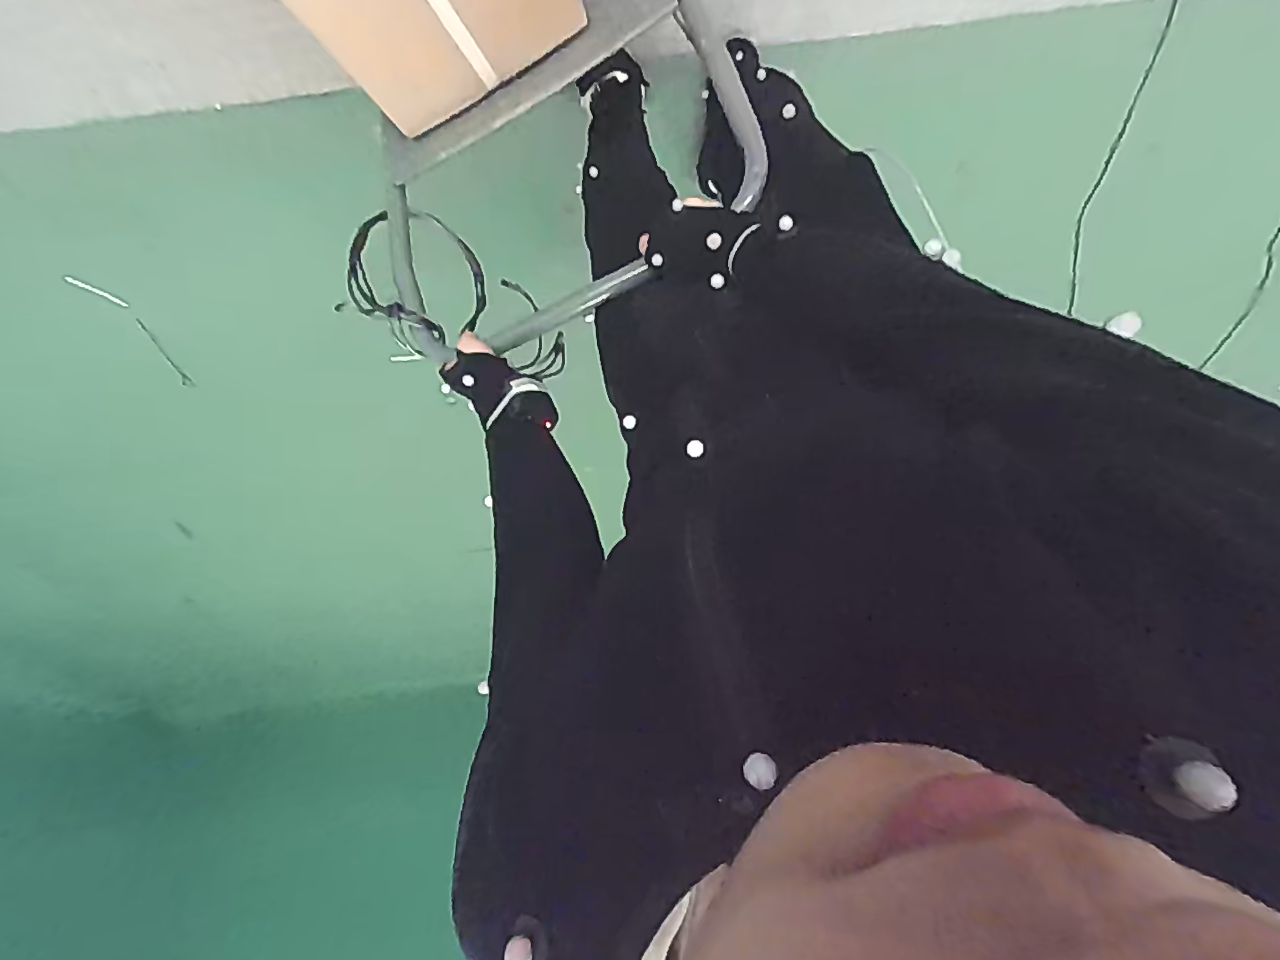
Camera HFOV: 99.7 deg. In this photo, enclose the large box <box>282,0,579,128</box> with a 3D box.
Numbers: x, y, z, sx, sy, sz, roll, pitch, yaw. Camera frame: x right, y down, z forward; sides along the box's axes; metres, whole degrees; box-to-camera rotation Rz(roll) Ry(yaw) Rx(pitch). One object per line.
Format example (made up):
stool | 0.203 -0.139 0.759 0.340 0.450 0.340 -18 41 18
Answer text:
large box | -0.319 -0.754 0.639 0.320 0.320 0.408 -20 159 15
